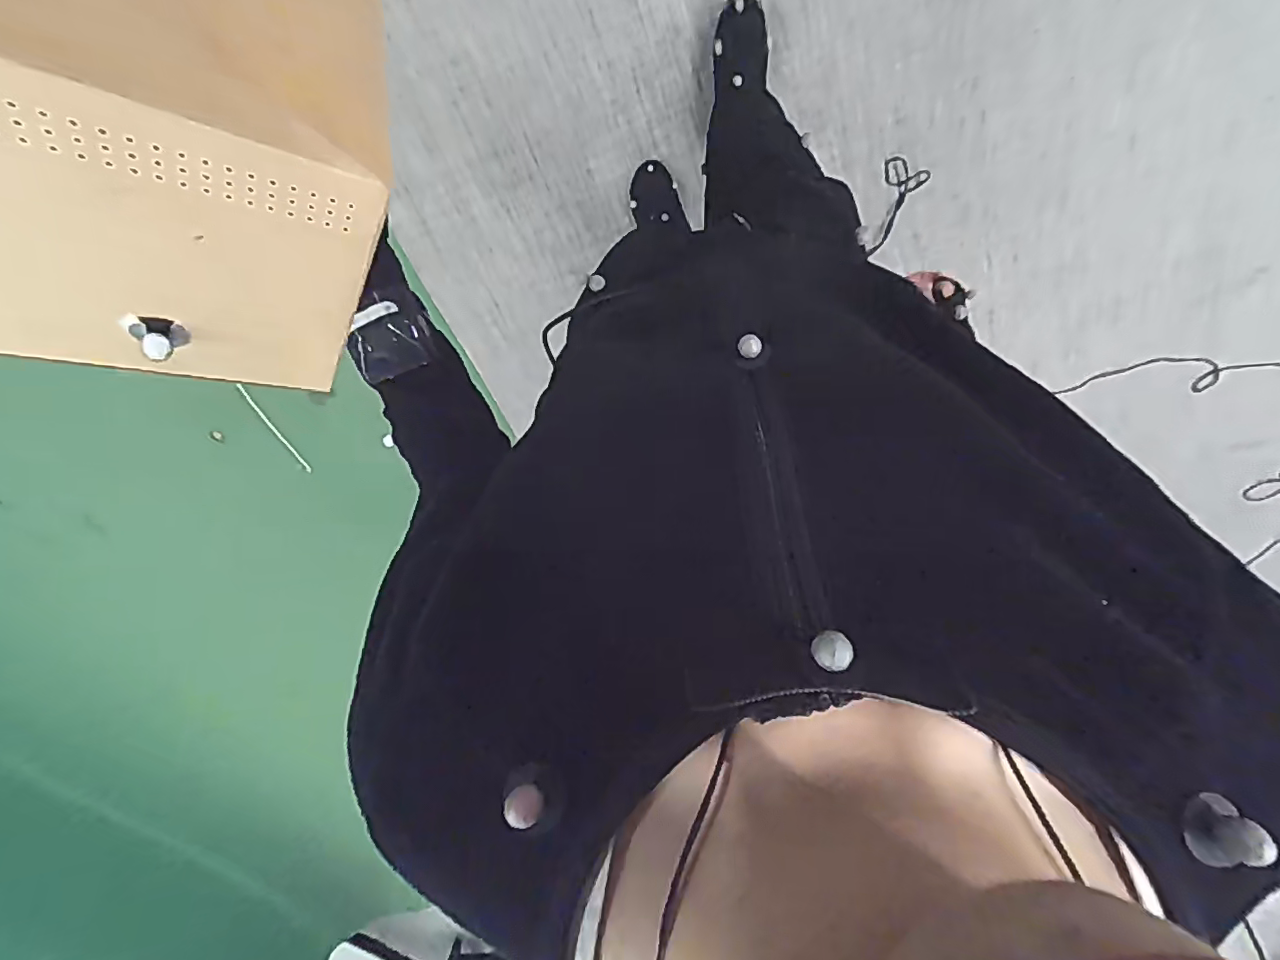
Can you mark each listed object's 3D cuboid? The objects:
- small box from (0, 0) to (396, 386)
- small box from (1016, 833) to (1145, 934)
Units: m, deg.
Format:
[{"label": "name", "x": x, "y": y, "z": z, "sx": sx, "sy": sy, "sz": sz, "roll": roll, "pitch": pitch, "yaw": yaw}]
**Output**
[{"label": "small box", "x": -0.219, "y": -0.162, "z": 0.239, "sx": 0.179, "sy": 0.168, "sz": 0.176, "roll": 3, "pitch": 157, "yaw": -37}, {"label": "small box", "x": 1.121, "y": 1.035, "z": 1.393, "sx": 0.179, "sy": 0.176, "sz": 0.168, "roll": -5, "pitch": 122, "yaw": 6}]
